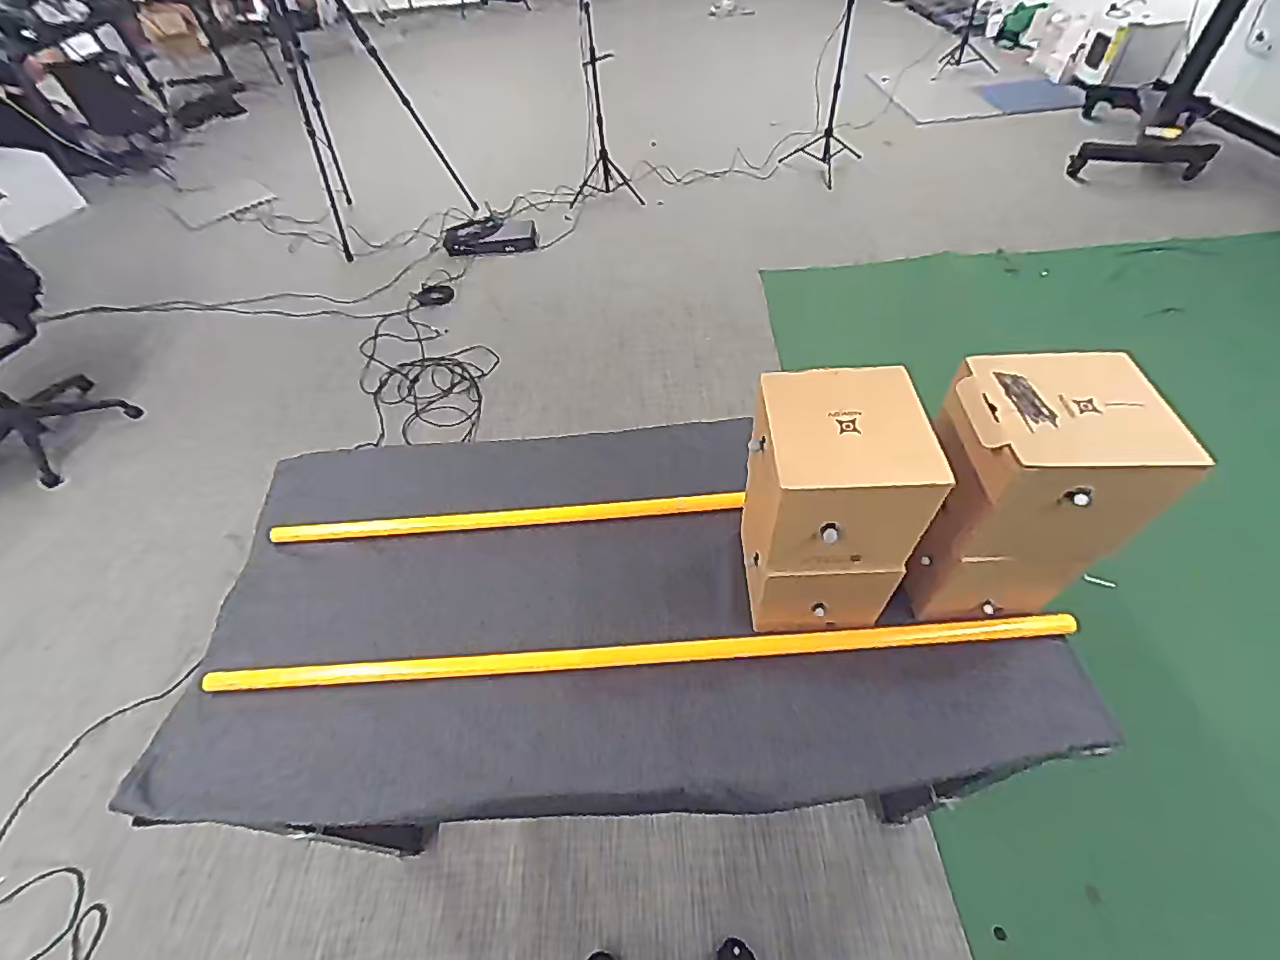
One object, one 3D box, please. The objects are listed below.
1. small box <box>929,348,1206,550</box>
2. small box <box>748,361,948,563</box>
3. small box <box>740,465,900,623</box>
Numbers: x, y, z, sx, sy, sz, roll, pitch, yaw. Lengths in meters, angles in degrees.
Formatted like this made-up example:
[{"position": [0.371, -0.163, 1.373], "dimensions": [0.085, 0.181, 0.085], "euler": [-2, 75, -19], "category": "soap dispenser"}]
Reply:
[{"position": [0.449, -0.030, 0.618], "dimensions": [0.179, 0.176, 0.168], "euler": [-1, 52, 4], "category": "small box"}, {"position": [0.220, -0.013, 0.629], "dimensions": [0.168, 0.176, 0.179], "euler": [-3, 51, 4], "category": "small box"}, {"position": [0.234, 0.091, 0.754], "dimensions": [0.168, 0.176, 0.179], "euler": [-2, 51, 3], "category": "small box"}]
